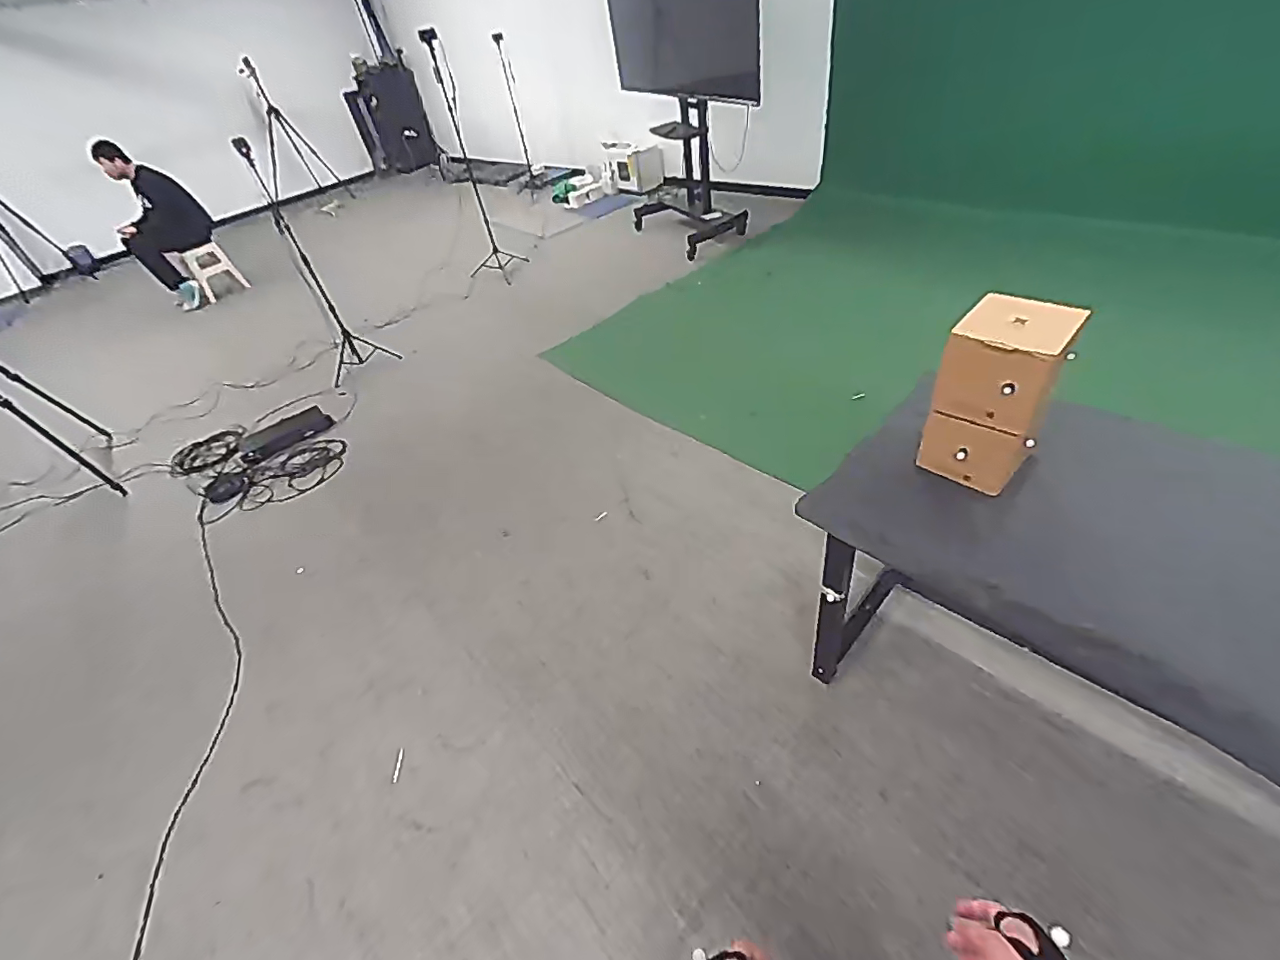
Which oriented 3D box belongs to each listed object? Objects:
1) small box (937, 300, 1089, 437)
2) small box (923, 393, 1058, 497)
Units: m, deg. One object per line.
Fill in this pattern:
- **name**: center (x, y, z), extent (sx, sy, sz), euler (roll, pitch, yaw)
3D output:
- **small box**: center (0.678, -0.206, 1.001), extent (0.168, 0.176, 0.179), euler (30, 55, 35)
- **small box**: center (0.711, -0.095, 1.116), extent (0.179, 0.176, 0.168), euler (-37, 48, -26)
